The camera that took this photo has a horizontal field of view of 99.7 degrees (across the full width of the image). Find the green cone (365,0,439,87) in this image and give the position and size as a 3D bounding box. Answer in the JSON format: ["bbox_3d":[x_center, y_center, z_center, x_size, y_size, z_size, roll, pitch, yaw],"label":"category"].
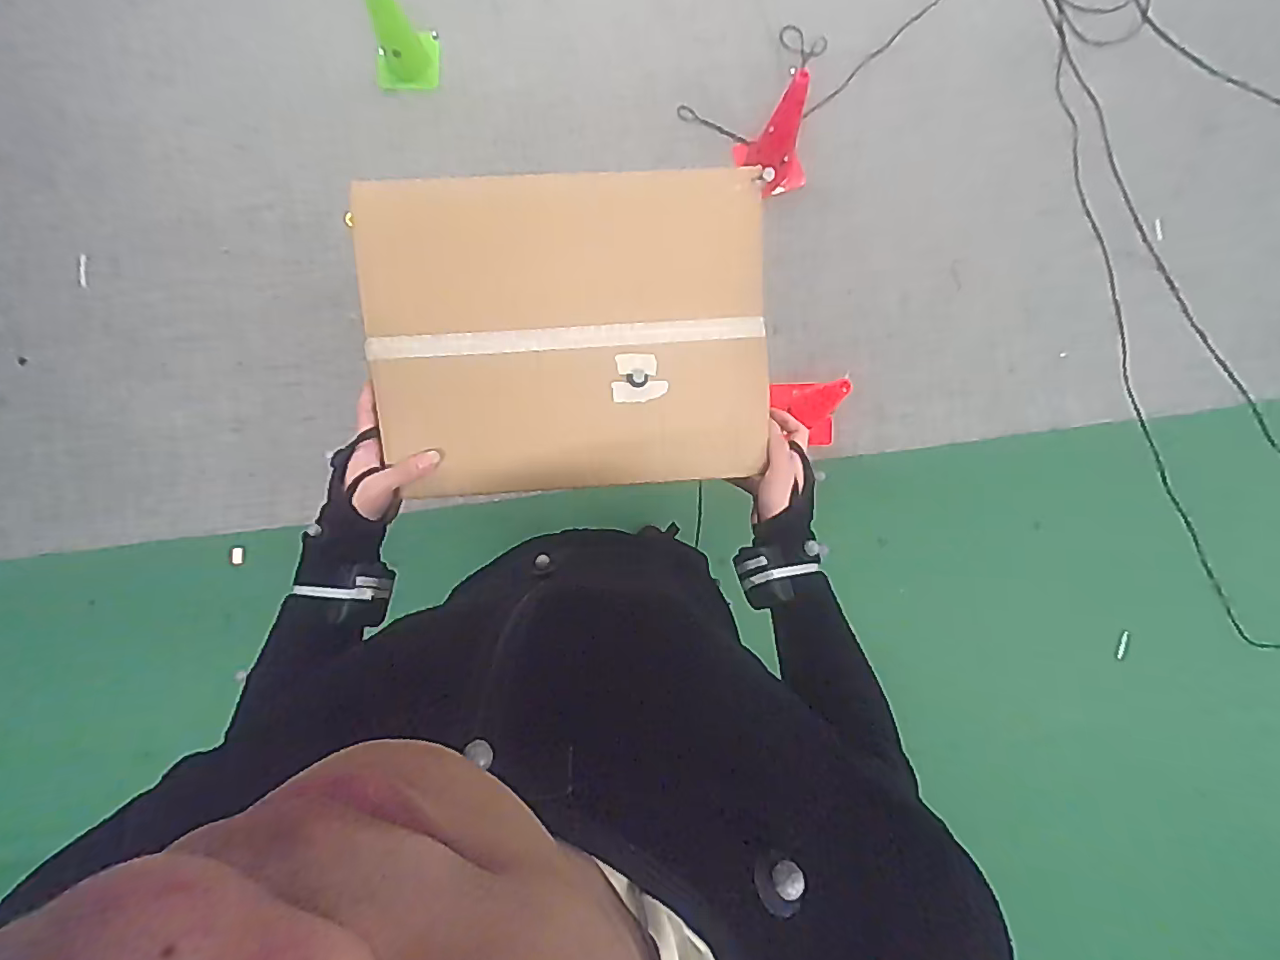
[{"bbox_3d":[-0.754,-1.391,1.592,0.200,0.368,0.202,-1,87,-1],"label":"green cone"}]

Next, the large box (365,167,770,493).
[{"bbox_3d":[-0.075,-0.173,0.709,0.408,0.320,0.320,-4,99,-3],"label":"large box"}]

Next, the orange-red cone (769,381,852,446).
[{"bbox_3d":[0.506,-0.218,1.519,0.199,0.360,0.198,1,86,-3],"label":"orange-red cone"}]
